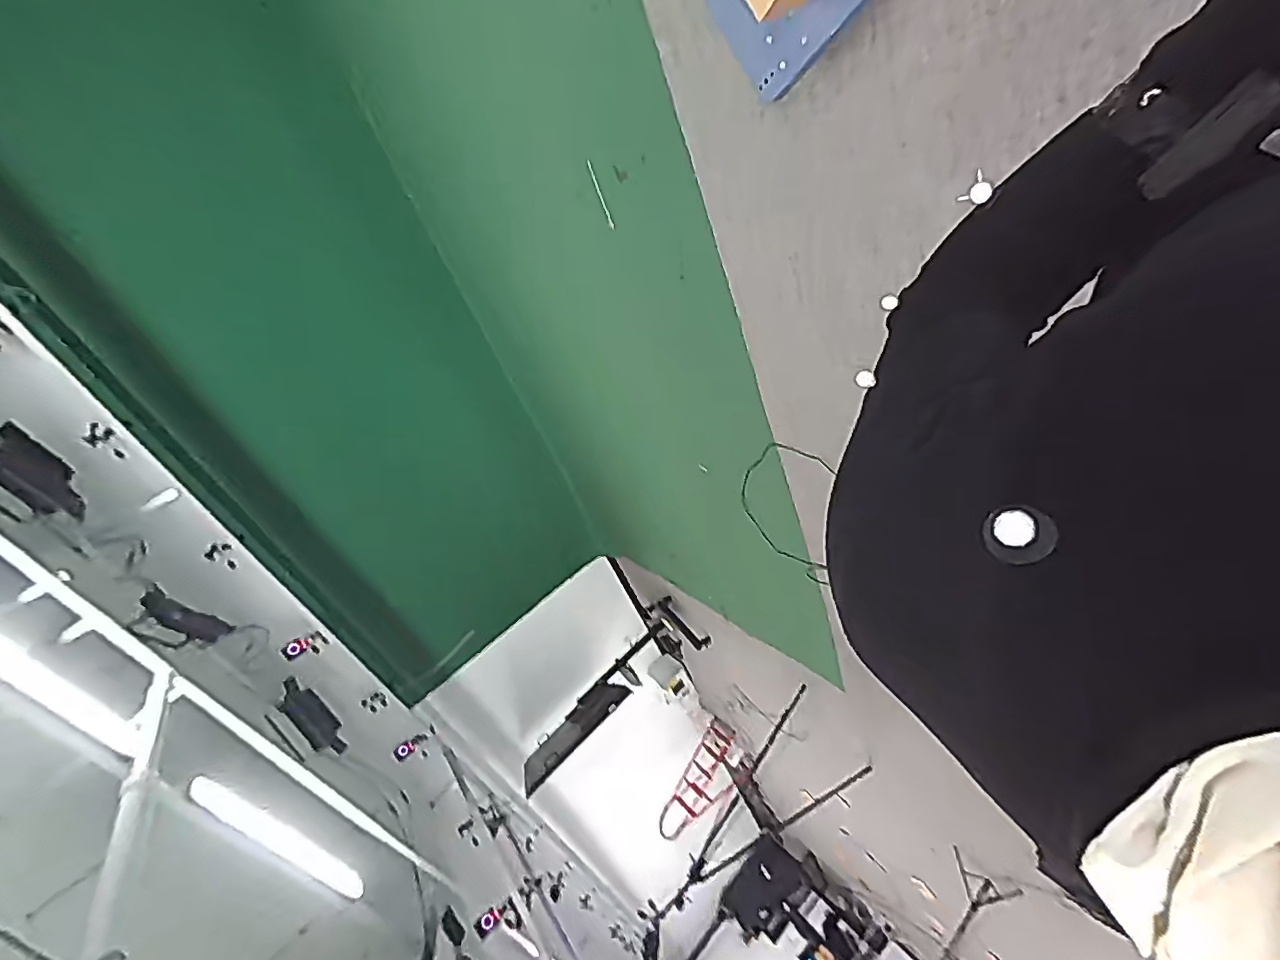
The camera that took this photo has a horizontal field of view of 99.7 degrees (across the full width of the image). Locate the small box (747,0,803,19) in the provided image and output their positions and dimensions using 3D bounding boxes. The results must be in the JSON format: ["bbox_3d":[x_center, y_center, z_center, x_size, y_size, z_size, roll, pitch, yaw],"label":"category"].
[{"bbox_3d":[0.311,-1.152,1.152,0.168,0.176,0.179,55,157,-7],"label":"small box"}]
